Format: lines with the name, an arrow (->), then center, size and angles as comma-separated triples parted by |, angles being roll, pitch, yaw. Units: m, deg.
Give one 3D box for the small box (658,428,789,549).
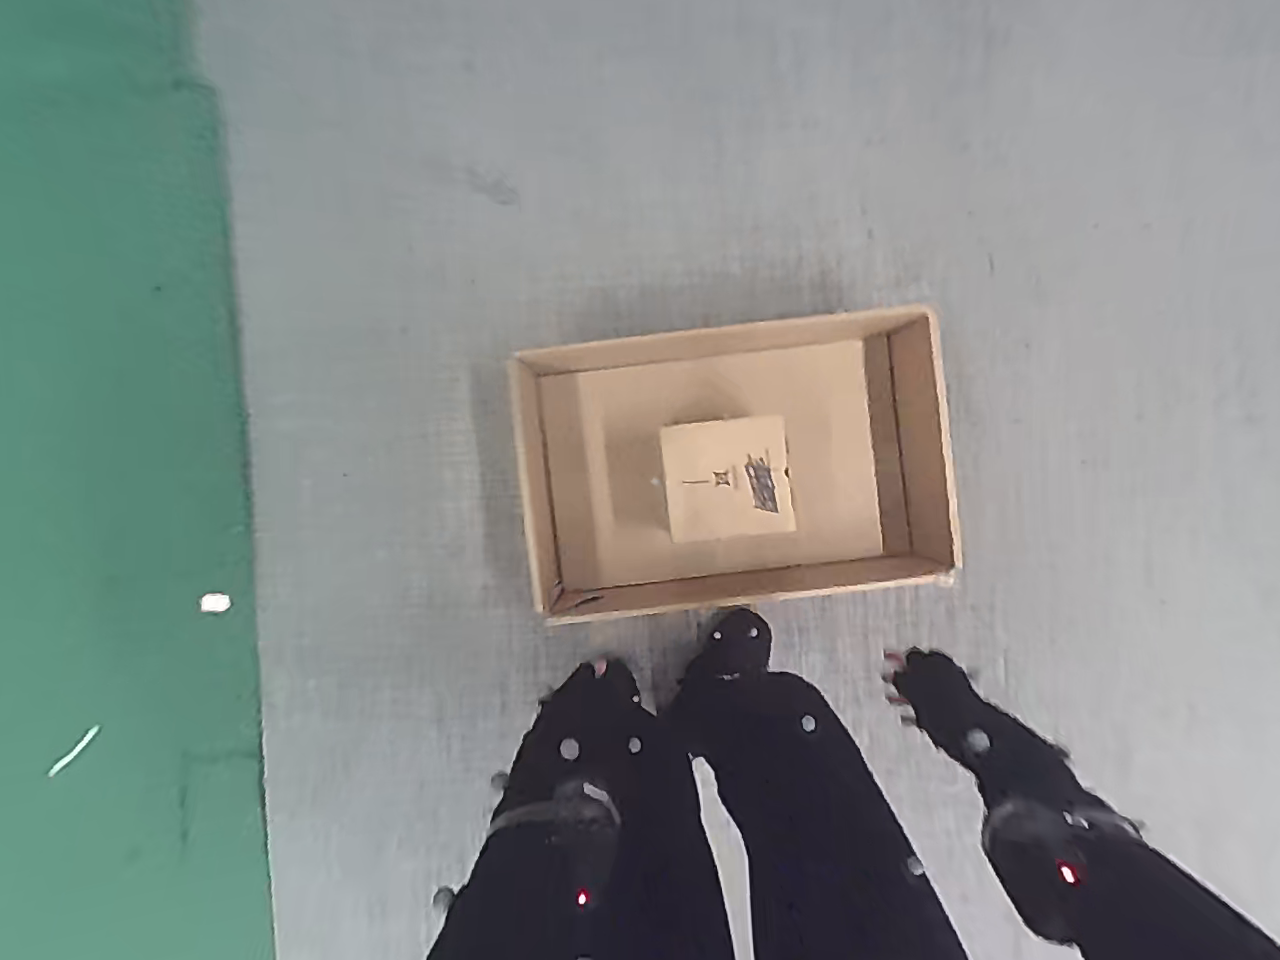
small box -> 0.122, 0.012, 0.851 | 0.179, 0.176, 0.168 | -5, 89, 1
